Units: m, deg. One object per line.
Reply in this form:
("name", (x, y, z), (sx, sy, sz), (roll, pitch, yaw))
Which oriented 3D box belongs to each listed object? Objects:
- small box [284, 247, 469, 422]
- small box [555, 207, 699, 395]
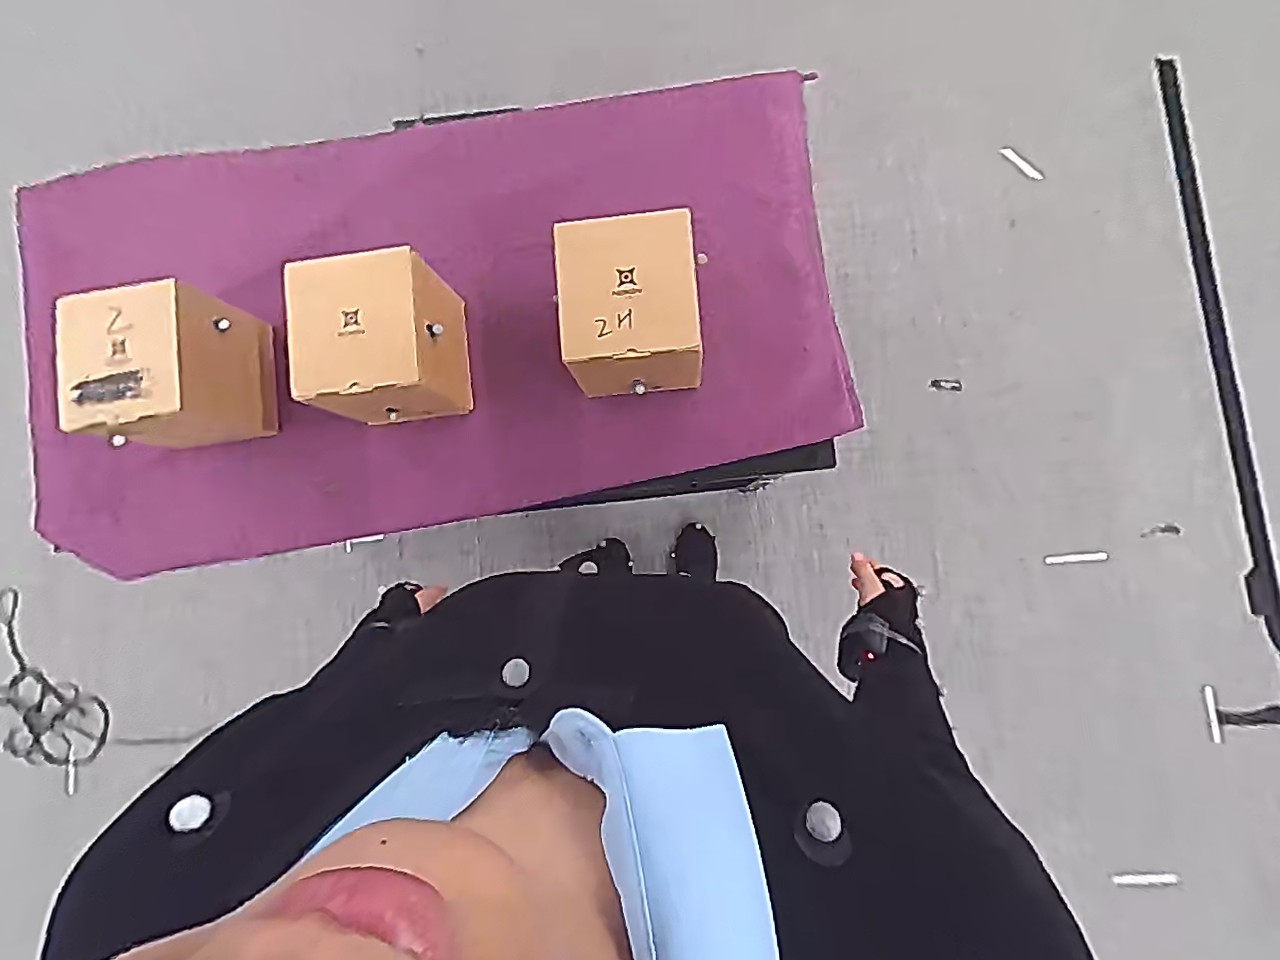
("small box", (-0.349, -0.188, 0.742), (0.168, 0.176, 0.179), (-7, 85, 4))
("small box", (-0.012, -0.224, 0.715), (0.168, 0.176, 0.179), (-5, 84, 5))
